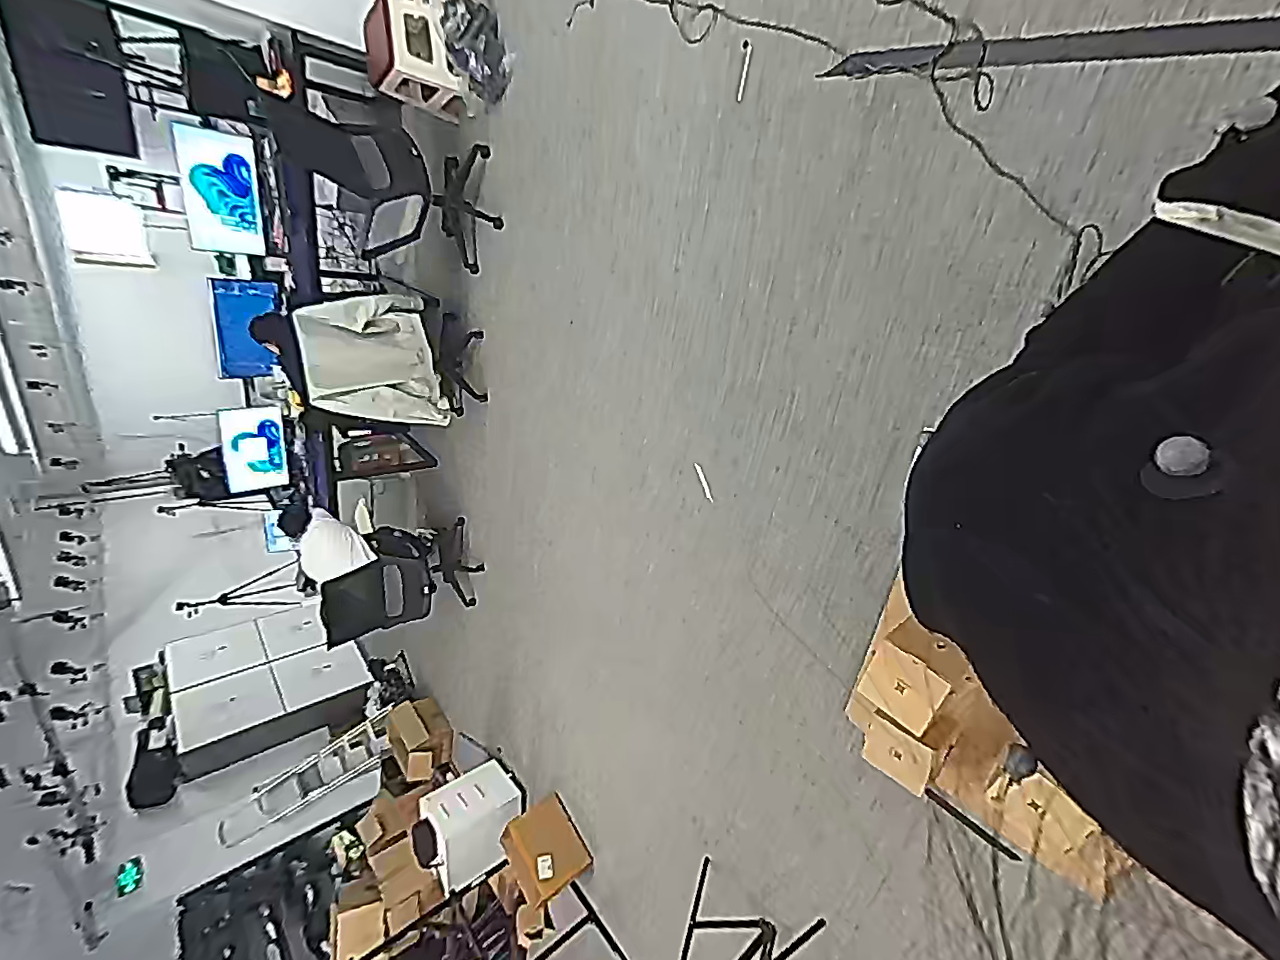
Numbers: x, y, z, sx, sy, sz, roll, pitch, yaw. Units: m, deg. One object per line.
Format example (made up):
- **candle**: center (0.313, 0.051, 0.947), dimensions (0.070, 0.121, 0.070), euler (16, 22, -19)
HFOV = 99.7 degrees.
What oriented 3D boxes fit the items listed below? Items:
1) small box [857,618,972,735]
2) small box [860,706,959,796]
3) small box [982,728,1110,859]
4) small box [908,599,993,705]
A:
- **small box**: center (0.667, 0.467, 1.309), dimensions (0.168, 0.176, 0.179), euler (35, 123, 38)
- **small box**: center (0.759, 0.730, 1.523), dimensions (0.179, 0.176, 0.168), euler (25, 119, 43)
- **small box**: center (0.966, 0.735, 1.284), dimensions (0.179, 0.176, 0.168), euler (39, 126, 34)
- **small box**: center (0.788, 0.442, 1.415), dimensions (0.168, 0.176, 0.179), euler (31, 120, 39)
